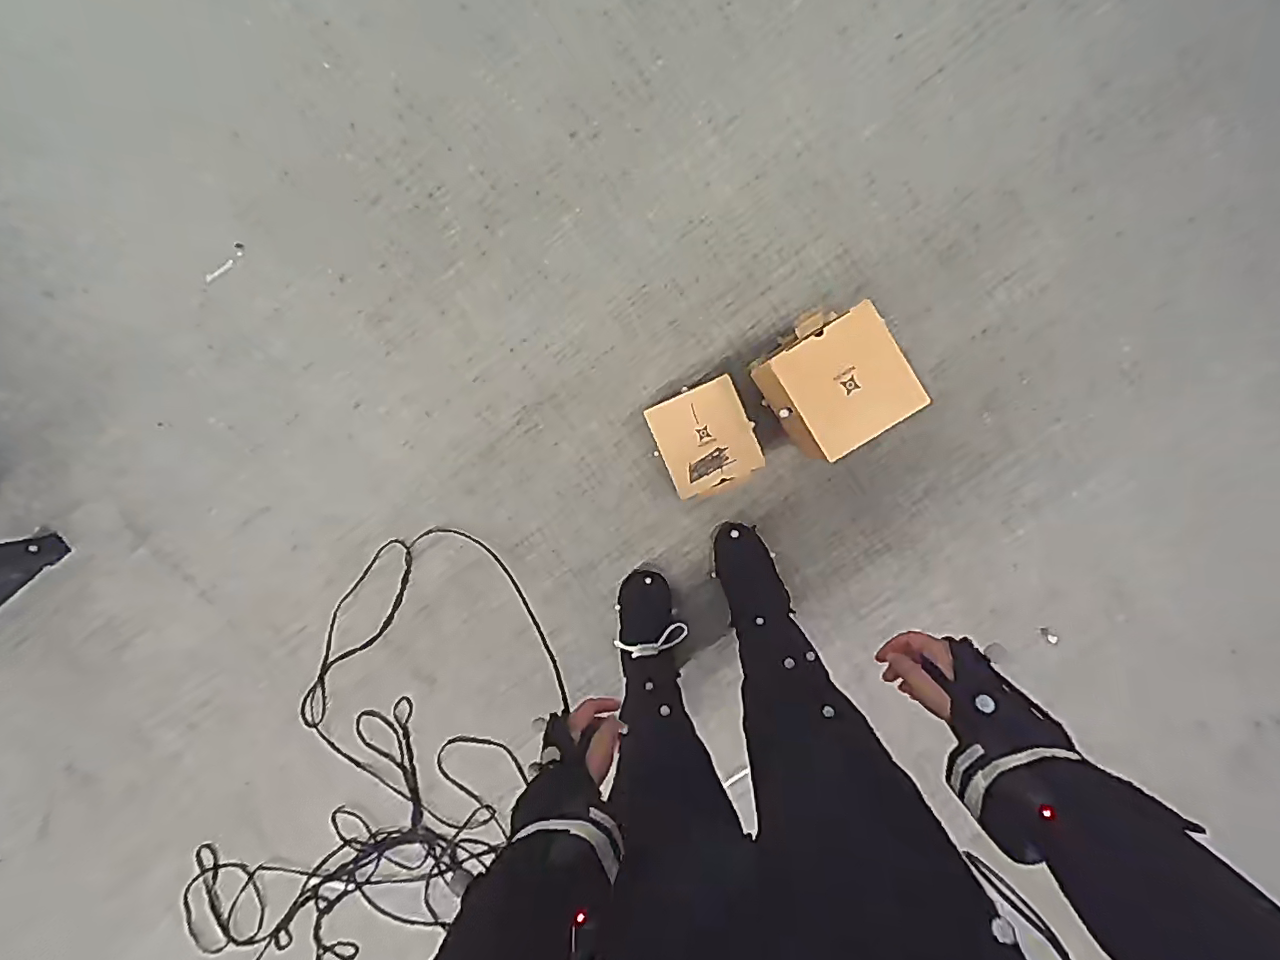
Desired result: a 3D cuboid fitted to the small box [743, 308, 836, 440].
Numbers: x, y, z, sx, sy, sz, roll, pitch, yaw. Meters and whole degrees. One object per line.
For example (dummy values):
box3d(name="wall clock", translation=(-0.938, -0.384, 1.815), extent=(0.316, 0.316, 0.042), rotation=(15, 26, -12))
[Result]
box3d(name="small box", translation=(0.309, -0.185, 1.008), extent=(0.168, 0.176, 0.179), rotation=(-32, 92, 5))

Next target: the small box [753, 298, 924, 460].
box3d(name="small box", translation=(0.297, -0.151, 0.848), extent=(0.168, 0.176, 0.179), rotation=(-32, 93, 6))

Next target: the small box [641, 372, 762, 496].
box3d(name="small box", translation=(0.114, -0.088, 1.028), extent=(0.168, 0.176, 0.179), rotation=(-23, 93, 5))
